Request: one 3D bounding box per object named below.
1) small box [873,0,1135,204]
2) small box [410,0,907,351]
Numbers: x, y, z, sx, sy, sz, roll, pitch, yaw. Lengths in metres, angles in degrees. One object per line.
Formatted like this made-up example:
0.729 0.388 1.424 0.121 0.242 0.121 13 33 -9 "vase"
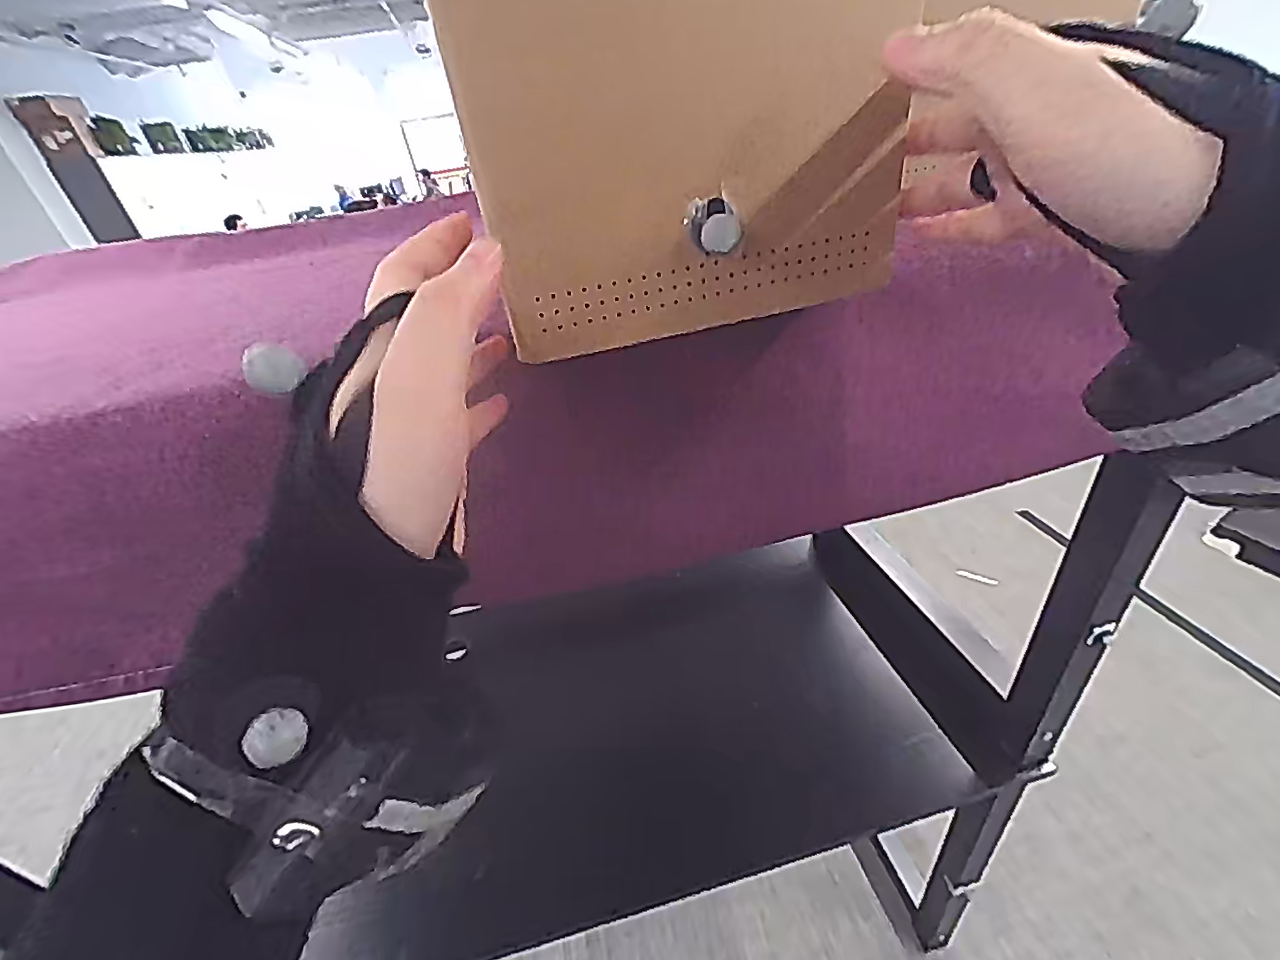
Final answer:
0.218 -0.315 0.407 0.168 0.176 0.179 -13 33 -4 "small box"
-0.001 -0.177 0.255 0.179 0.176 0.168 -14 33 -9 "small box"
